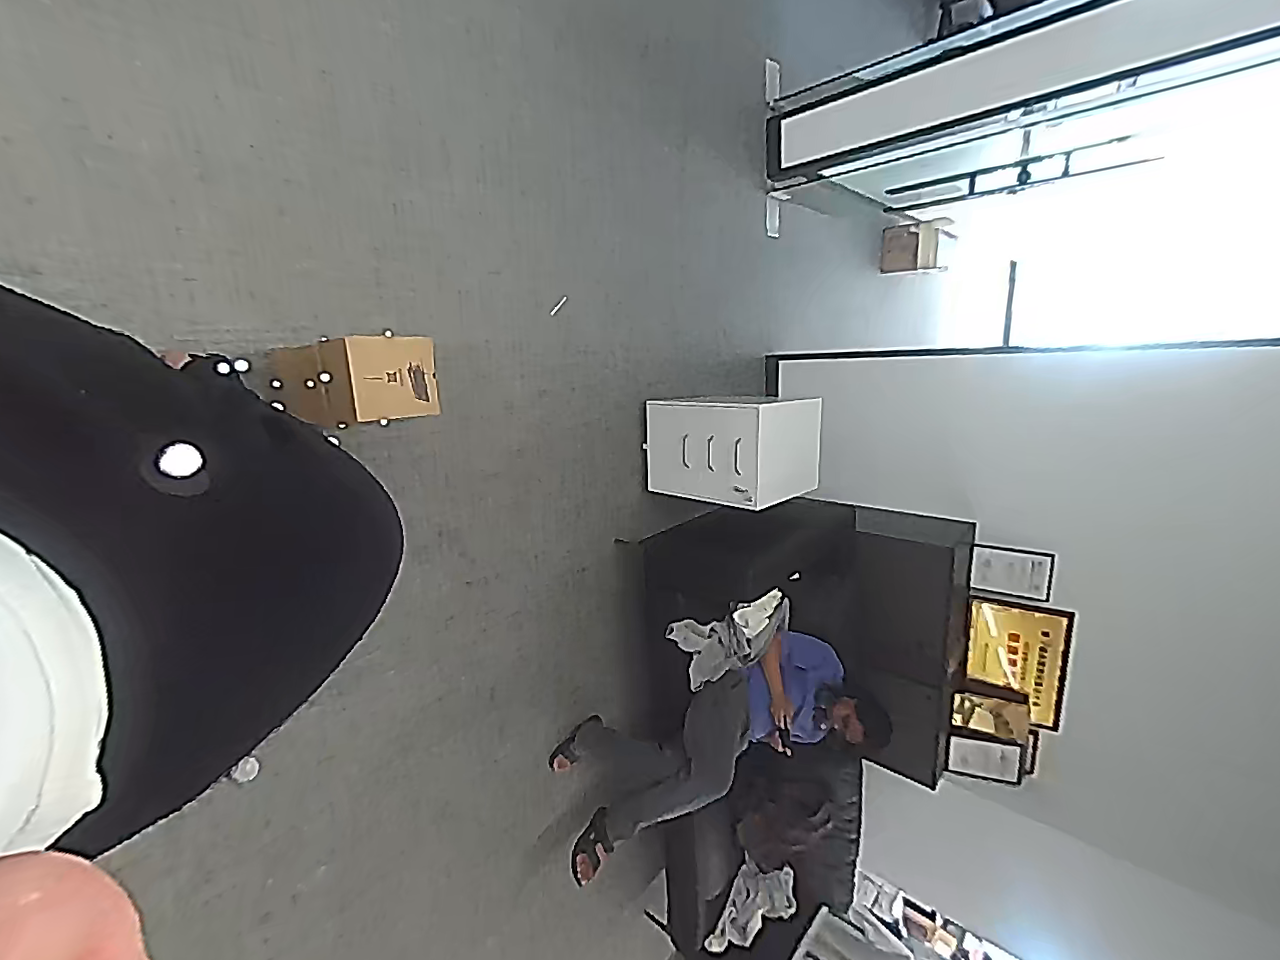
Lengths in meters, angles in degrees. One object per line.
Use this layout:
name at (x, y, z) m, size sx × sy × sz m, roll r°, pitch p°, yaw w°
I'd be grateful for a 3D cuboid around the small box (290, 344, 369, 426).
small box at (-0.687, -0.228, 1.257) m, size 0.168 × 0.176 × 0.179 m, roll -18°, pitch 113°, yaw -45°

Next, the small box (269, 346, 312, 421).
small box at (-0.808, -0.248, 1.362) m, size 0.168 × 0.176 × 0.179 m, roll -16°, pitch 110°, yaw -47°

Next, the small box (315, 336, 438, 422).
small box at (-0.559, -0.217, 1.151) m, size 0.179 × 0.176 × 0.168 m, roll -15°, pitch 108°, yaw -45°
